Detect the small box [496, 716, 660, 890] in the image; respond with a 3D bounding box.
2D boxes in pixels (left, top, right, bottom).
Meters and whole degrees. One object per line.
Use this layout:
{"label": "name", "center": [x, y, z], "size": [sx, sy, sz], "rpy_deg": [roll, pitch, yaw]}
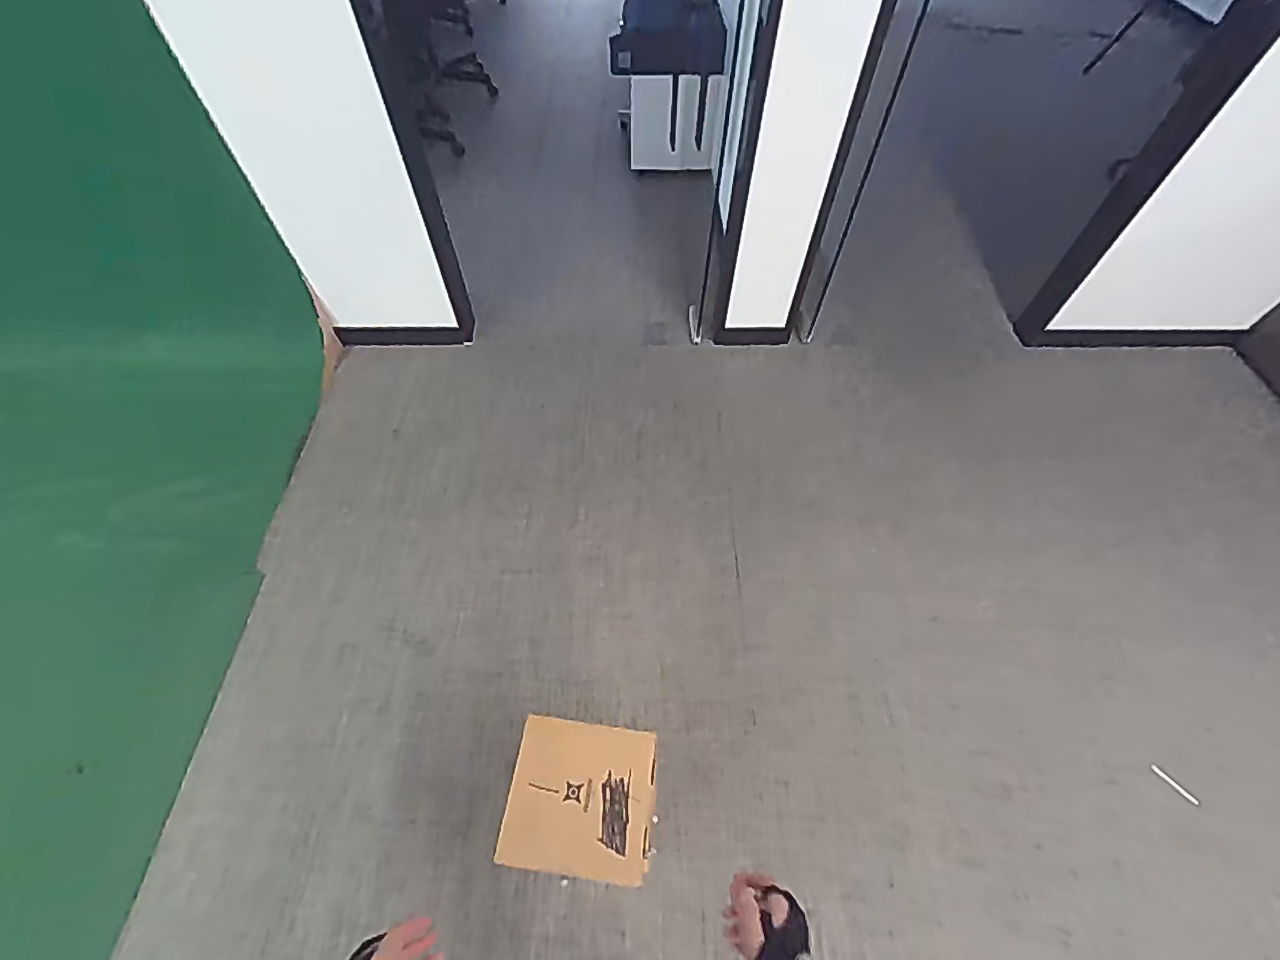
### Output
{"label": "small box", "center": [-0.071, 0.436, 0.735], "size": [0.179, 0.176, 0.168], "rpy_deg": [6, 56, 6]}
